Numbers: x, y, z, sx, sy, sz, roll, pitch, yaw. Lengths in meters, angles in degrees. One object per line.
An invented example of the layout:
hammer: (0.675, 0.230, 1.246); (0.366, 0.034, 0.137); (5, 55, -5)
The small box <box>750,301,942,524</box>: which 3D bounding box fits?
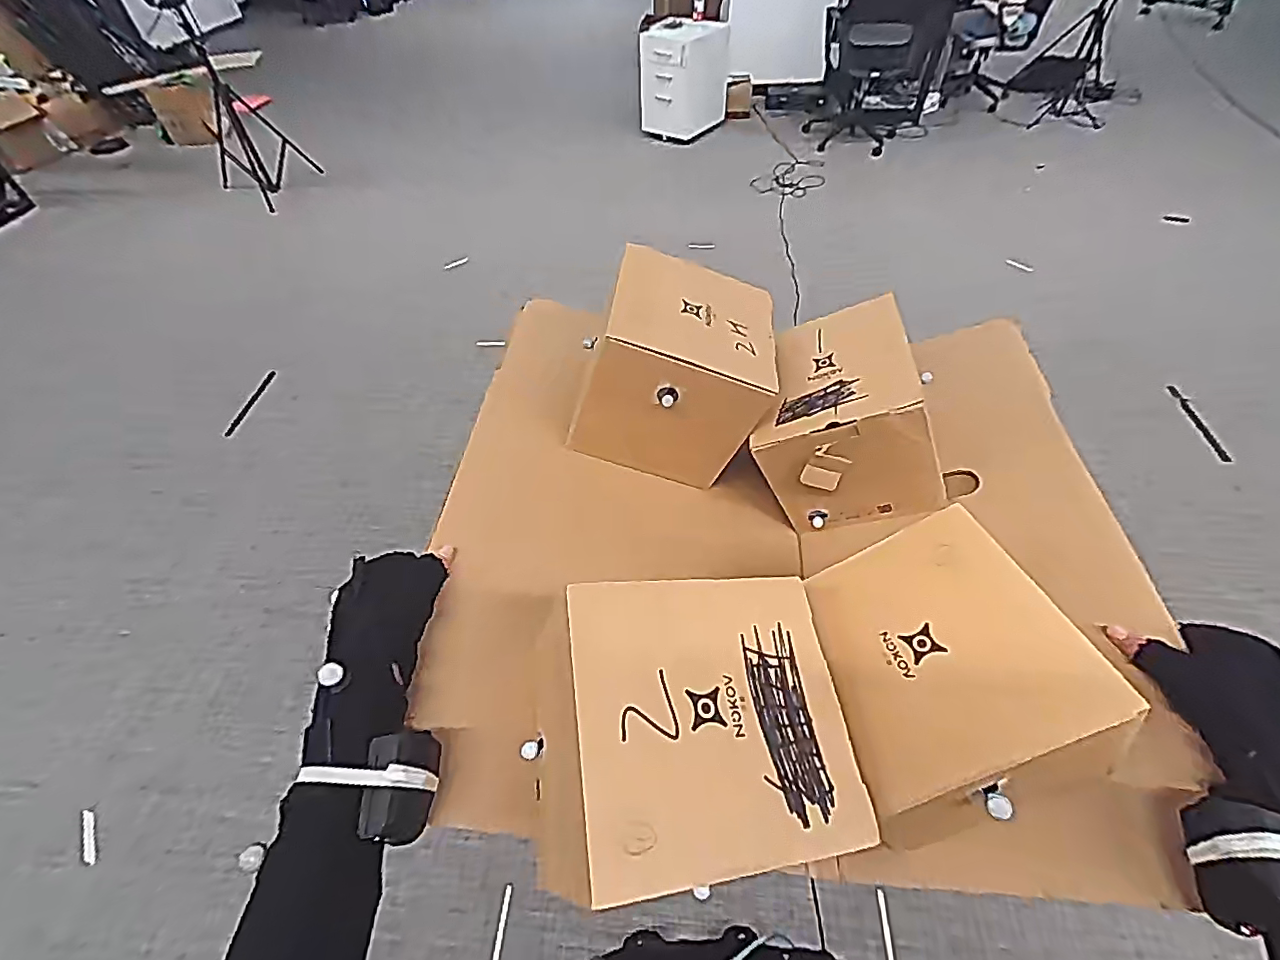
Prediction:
small box: (0.235, -0.064, 0.625); (0.168, 0.176, 0.179); (-14, 45, 27)
